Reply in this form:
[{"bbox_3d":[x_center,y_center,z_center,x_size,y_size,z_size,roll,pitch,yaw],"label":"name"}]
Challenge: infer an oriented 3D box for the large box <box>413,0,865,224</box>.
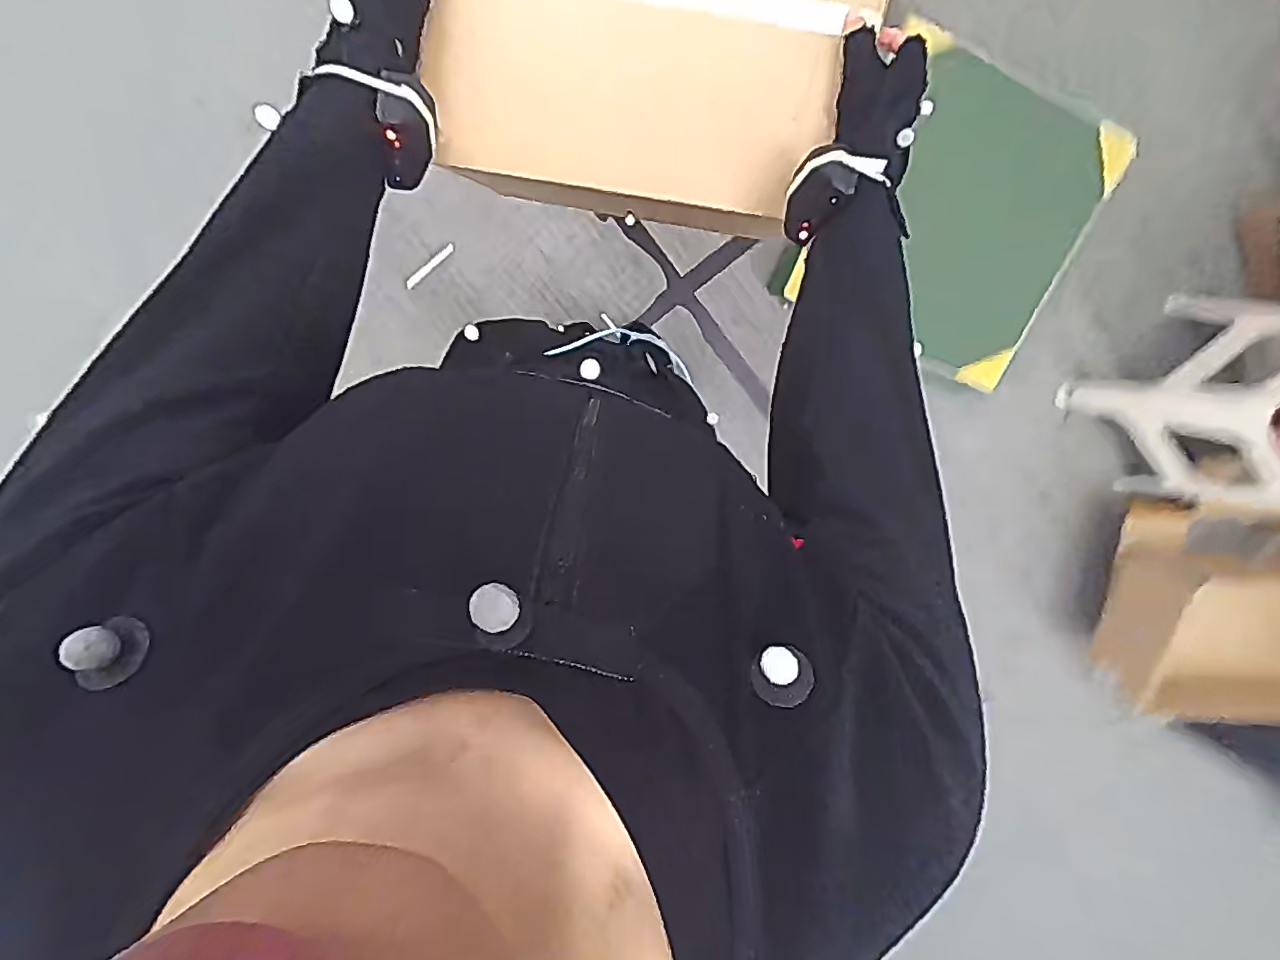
[{"bbox_3d":[0.002,-0.484,0.612,0.408,0.320,0.320,7,112,-2],"label":"large box"}]
